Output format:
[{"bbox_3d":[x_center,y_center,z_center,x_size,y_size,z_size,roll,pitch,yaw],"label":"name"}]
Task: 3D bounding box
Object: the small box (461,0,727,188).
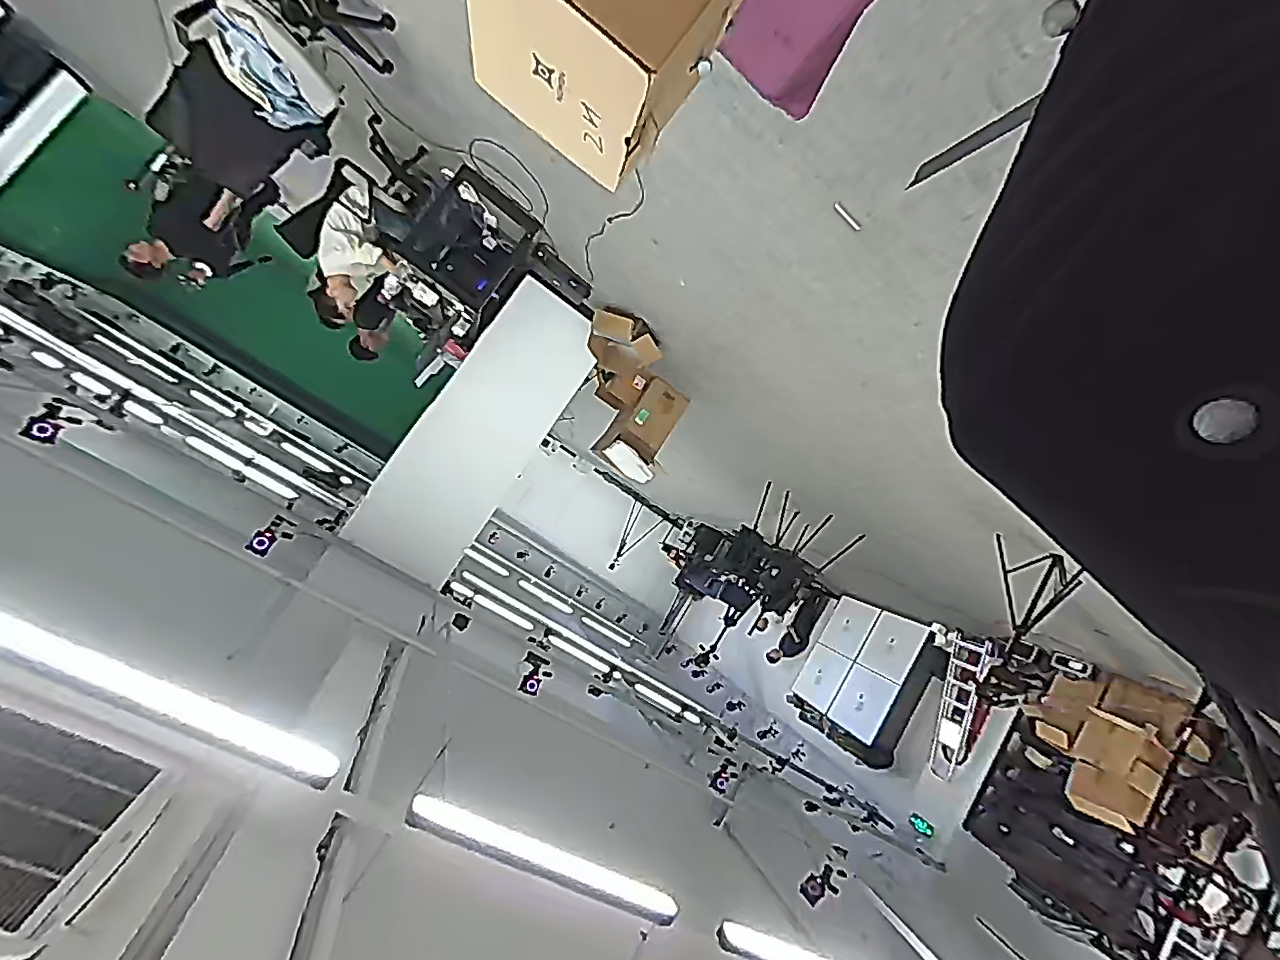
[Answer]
[{"bbox_3d":[-0.039,-0.421,0.486,0.179,0.176,0.168,35,172,-10],"label":"small box"}]
